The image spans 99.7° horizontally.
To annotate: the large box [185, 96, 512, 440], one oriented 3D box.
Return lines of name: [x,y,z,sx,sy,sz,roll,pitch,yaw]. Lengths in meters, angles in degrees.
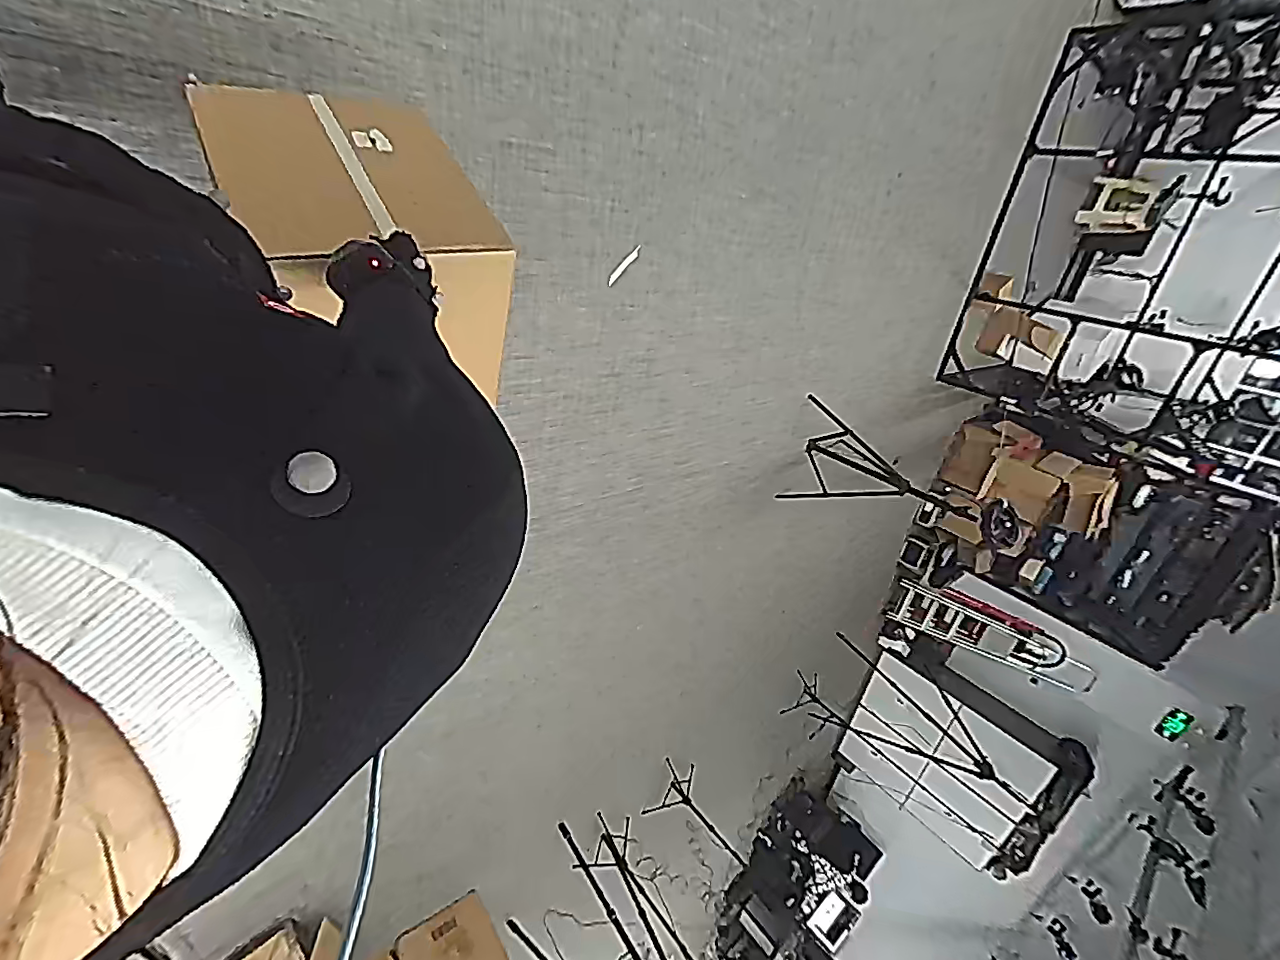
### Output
large box: [-0.442,-0.332,0.855,0.320,0.408,0.320,-18,151,-33]
